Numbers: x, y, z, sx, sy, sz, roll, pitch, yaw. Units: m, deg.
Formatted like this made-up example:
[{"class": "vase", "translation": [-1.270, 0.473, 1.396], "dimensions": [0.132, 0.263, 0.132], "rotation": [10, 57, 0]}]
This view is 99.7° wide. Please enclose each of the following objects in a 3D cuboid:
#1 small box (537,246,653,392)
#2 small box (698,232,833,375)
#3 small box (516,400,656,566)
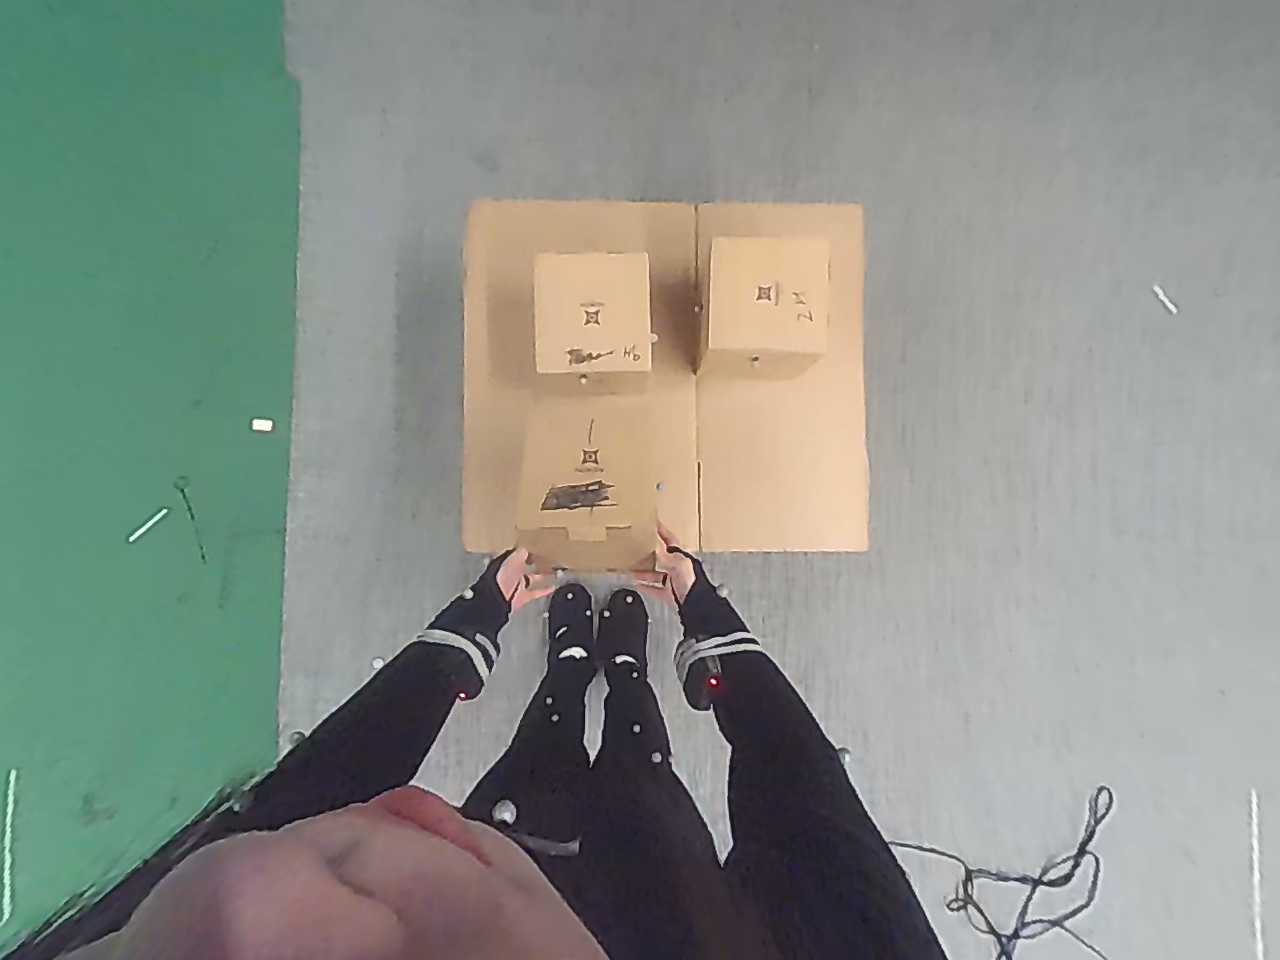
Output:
[{"class": "small box", "translation": [-0.065, -0.241, 0.843], "dimensions": [0.168, 0.176, 0.179], "rotation": [-1, 87, -1]}, {"class": "small box", "translation": [0.186, -0.267, 0.850], "dimensions": [0.179, 0.176, 0.168], "rotation": [3, 88, 0]}, {"class": "small box", "translation": [-0.062, 0.011, 0.736], "dimensions": [0.168, 0.176, 0.179], "rotation": [0, 61, 0]}]
